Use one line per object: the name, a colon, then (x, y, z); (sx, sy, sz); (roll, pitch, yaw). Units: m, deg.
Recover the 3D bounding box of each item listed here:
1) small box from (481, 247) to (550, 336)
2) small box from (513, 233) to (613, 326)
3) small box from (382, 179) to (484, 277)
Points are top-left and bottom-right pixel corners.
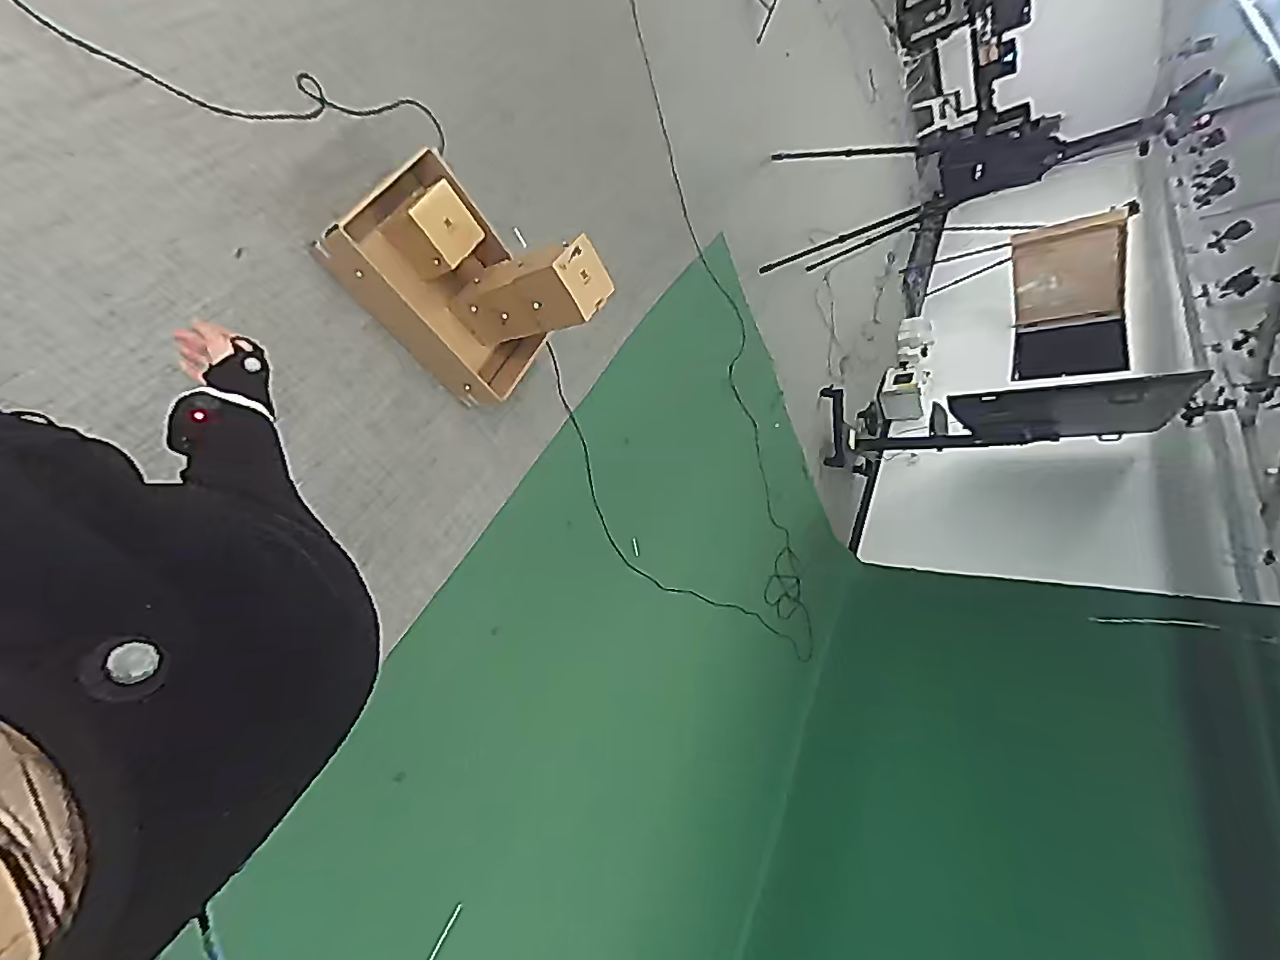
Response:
small box: (-0.333, -0.552, 1.595); (0.168, 0.176, 0.179); (53, 53, -37)
small box: (-0.210, -0.540, 1.483); (0.179, 0.176, 0.168); (57, 50, -35)
small box: (-0.588, -0.707, 1.534); (0.179, 0.176, 0.168); (52, 54, -39)
